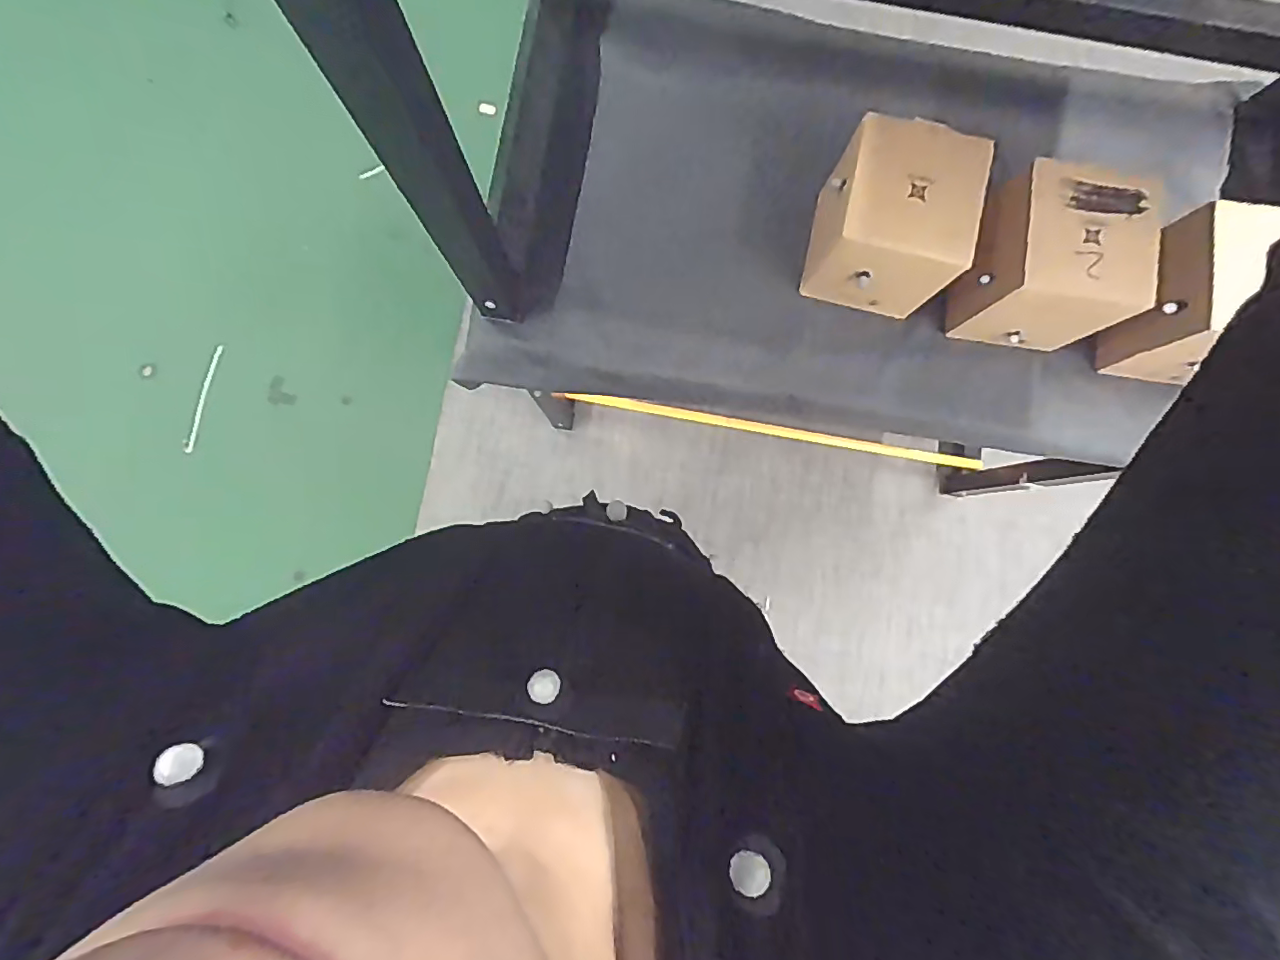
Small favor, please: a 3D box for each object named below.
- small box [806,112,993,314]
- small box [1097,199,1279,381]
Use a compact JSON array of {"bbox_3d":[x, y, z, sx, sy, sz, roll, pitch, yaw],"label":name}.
[{"bbox_3d":[0.345,-0.355,0.752,0.168,0.176,0.179,13,84,0],"label":"small box"},{"bbox_3d":[0.781,-0.248,0.747,0.168,0.176,0.179,8,83,-1],"label":"small box"}]
